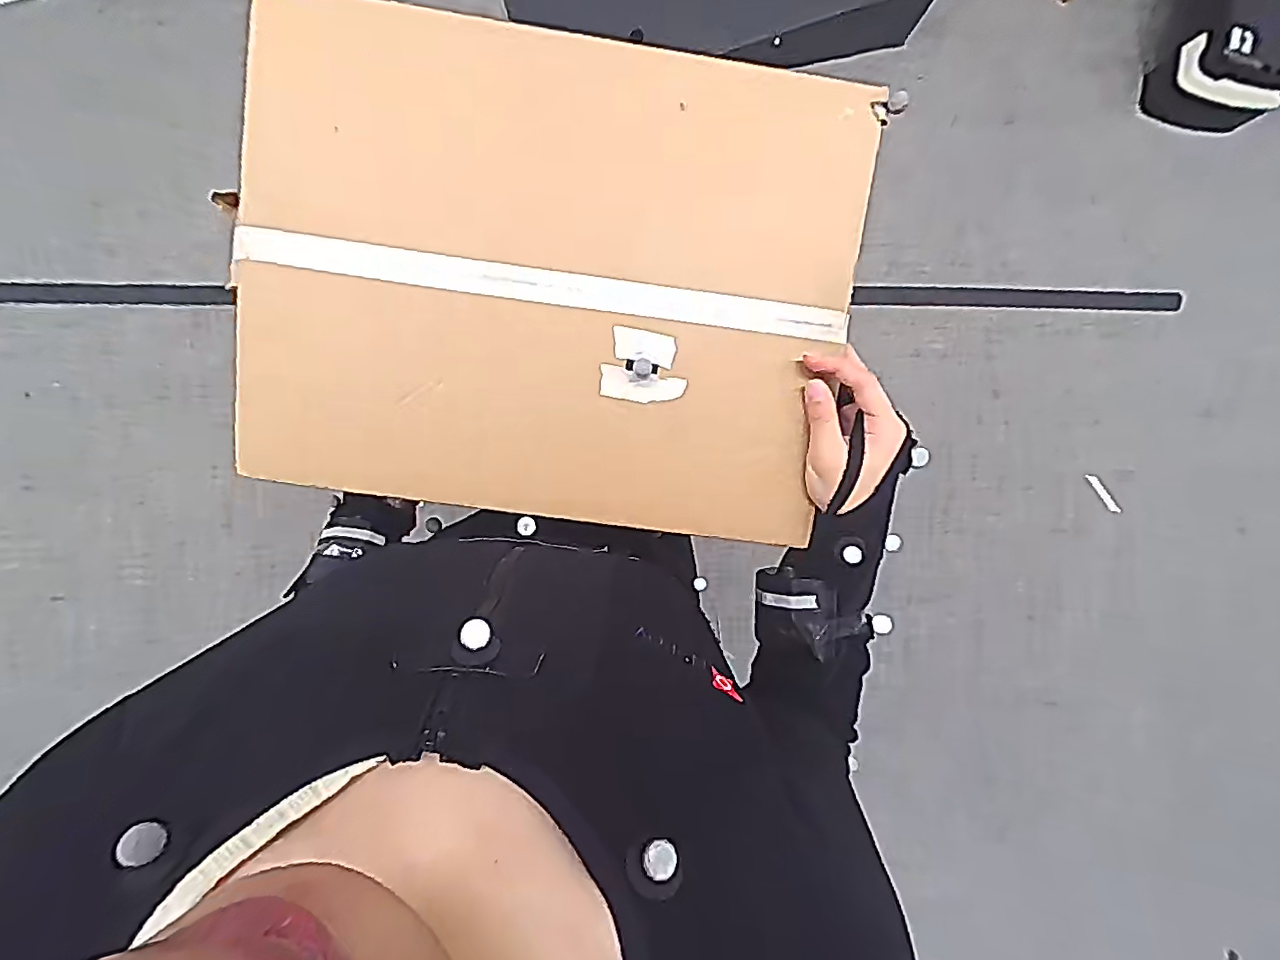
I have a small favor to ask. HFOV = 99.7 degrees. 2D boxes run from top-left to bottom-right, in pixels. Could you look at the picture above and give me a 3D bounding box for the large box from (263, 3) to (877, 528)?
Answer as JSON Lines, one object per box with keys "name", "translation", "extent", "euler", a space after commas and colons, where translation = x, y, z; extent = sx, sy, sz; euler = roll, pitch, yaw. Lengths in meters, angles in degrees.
{"name": "large box", "translation": [-0.060, -0.153, 0.519], "extent": [0.408, 0.320, 0.320], "euler": [7, 98, -4]}
